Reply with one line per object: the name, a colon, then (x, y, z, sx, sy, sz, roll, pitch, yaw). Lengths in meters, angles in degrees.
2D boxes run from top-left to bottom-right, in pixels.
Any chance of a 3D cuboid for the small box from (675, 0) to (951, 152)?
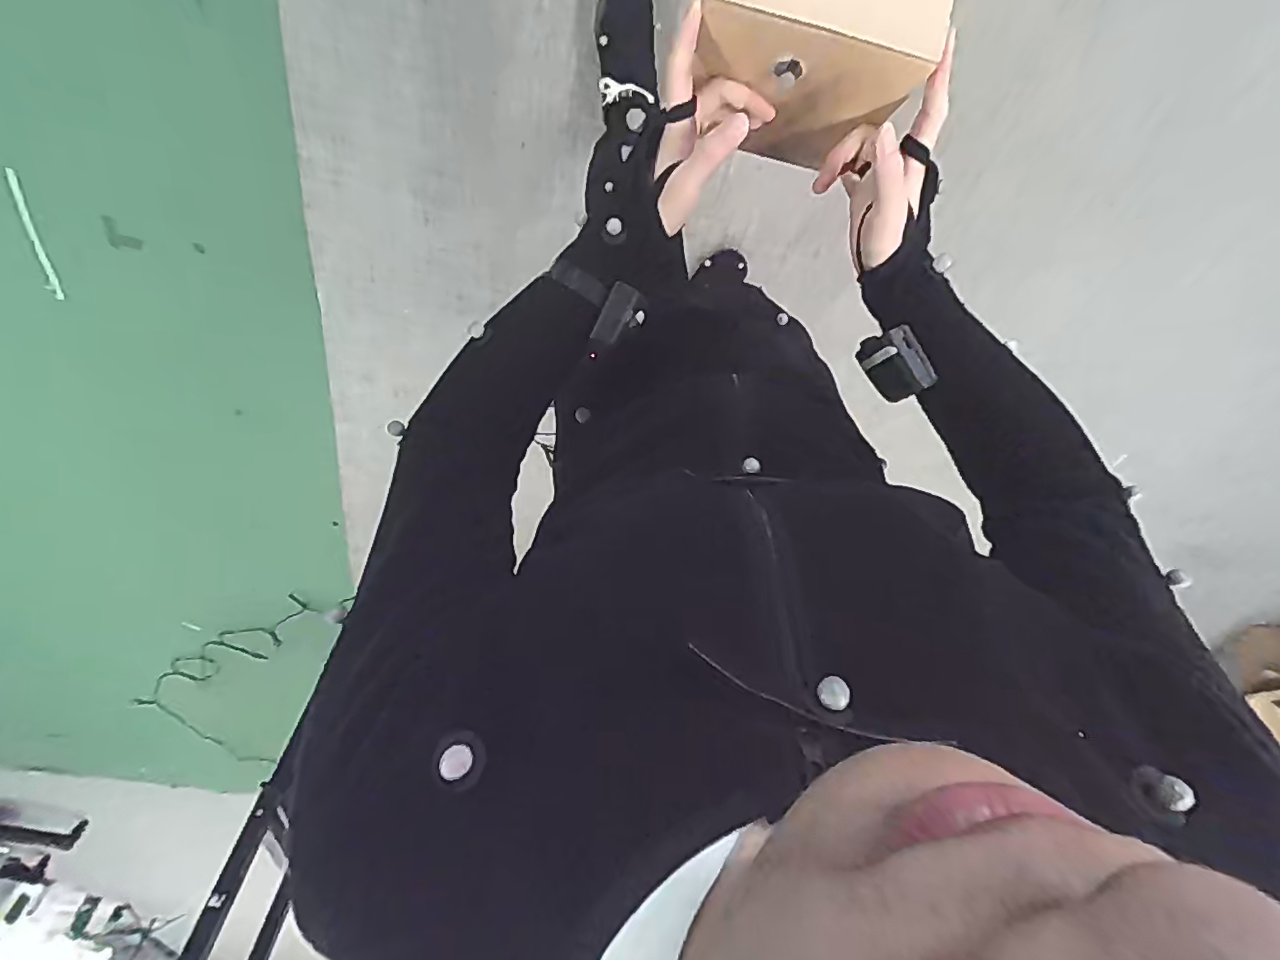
small box: (0.135, -0.407, 0.444, 0.179, 0.176, 0.168, 11, 94, -7)
